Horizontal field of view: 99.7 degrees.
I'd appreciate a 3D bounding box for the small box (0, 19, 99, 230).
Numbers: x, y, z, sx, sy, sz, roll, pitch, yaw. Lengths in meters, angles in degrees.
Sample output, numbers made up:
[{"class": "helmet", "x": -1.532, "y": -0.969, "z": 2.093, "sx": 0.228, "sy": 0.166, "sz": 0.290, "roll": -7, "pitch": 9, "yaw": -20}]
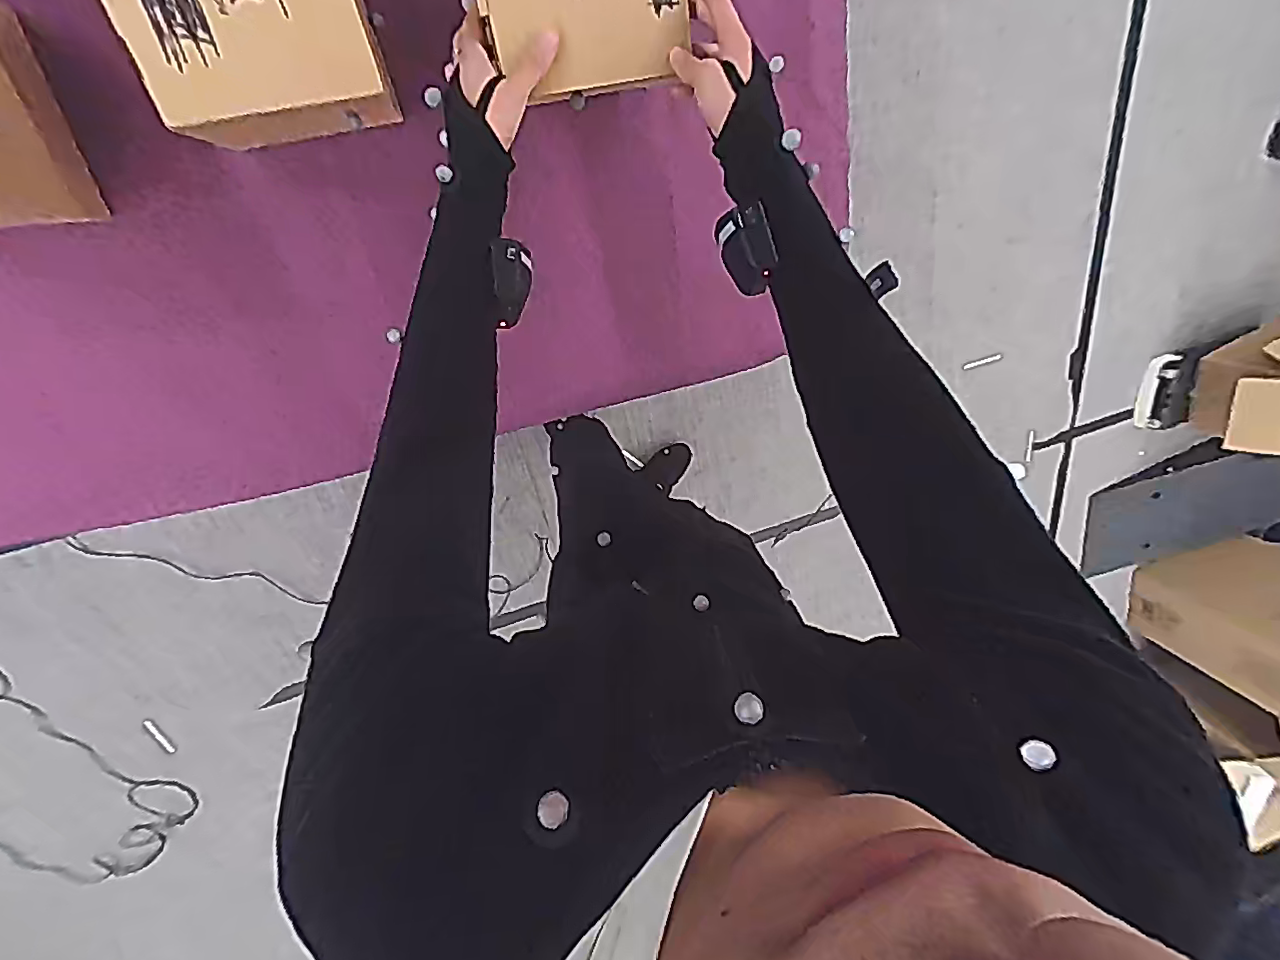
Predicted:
[{"class": "small box", "x": -0.613, "y": -0.297, "z": 0.437, "sx": 0.168, "sy": 0.176, "sz": 0.179, "roll": -12, "pitch": 117, "yaw": -13}]
